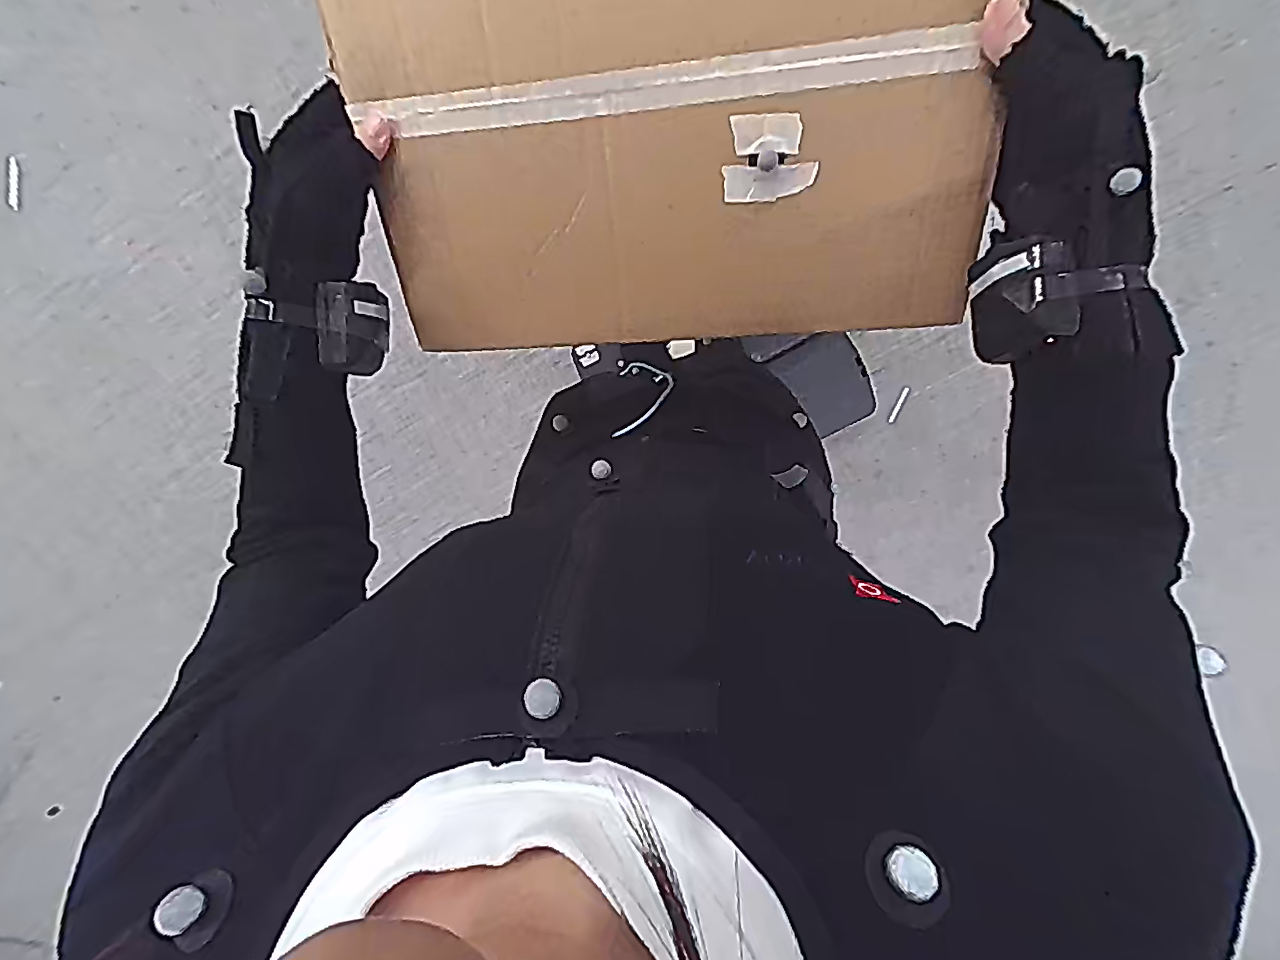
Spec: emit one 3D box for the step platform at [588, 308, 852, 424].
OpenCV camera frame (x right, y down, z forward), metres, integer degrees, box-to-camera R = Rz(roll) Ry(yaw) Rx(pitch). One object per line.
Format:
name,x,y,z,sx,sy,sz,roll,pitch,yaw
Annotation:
step platform,0.203,-0.422,1.417,0.684,0.204,0.286,-28,105,11

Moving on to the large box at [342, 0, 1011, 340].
large box,0.029,-0.328,0.466,0.408,0.320,0.320,-1,121,8
